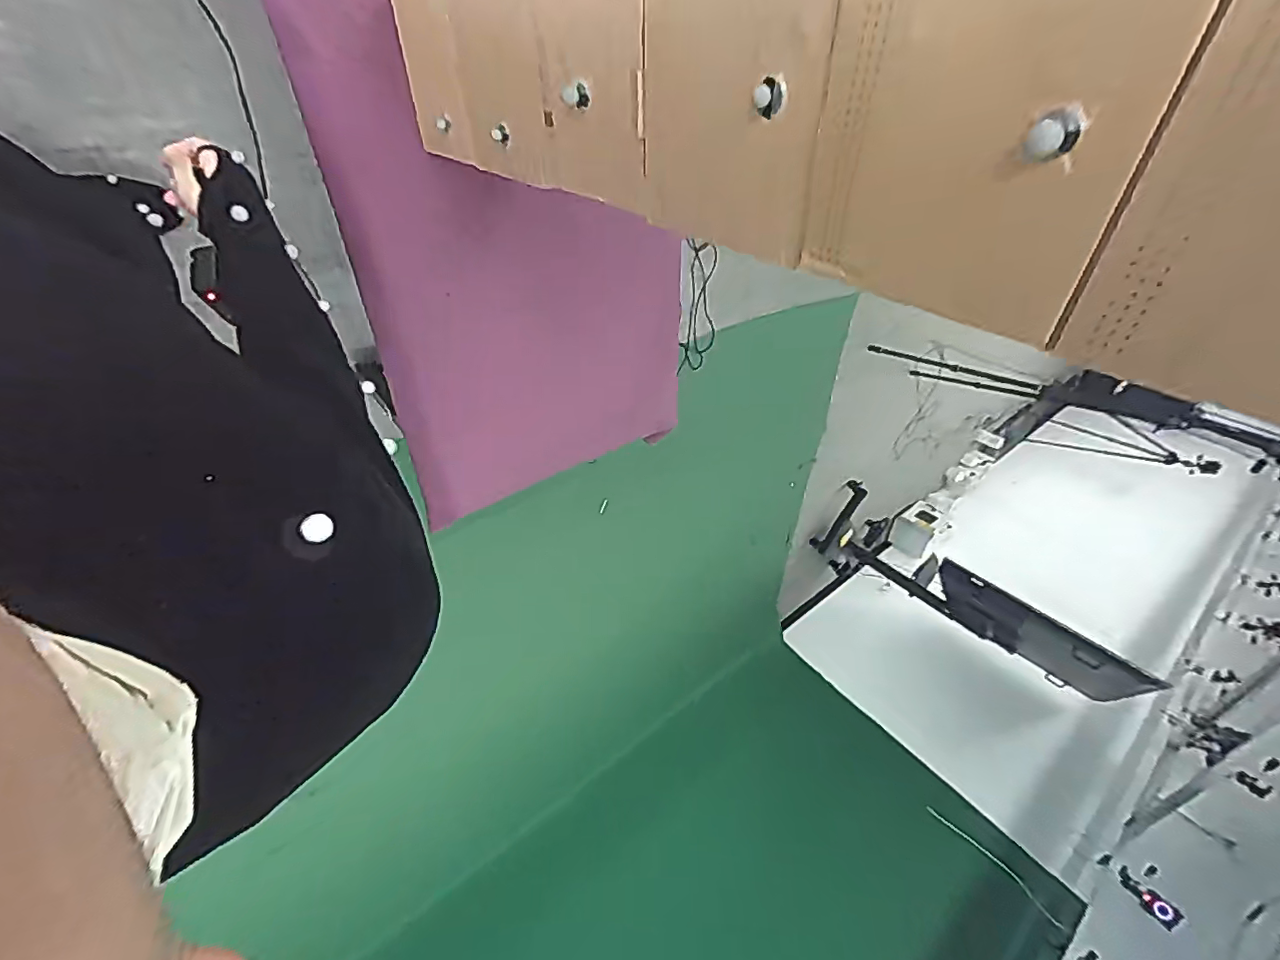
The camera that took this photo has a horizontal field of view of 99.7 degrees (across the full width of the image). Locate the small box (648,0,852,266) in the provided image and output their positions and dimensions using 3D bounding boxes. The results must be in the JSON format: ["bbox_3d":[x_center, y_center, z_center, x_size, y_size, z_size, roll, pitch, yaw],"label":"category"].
[{"bbox_3d":[0.119,-0.287,0.410,0.168,0.176,0.179,-28,138,-28],"label":"small box"}]

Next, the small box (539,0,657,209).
[{"bbox_3d":[0.019,-0.370,0.510,0.179,0.176,0.168,-27,137,-28],"label":"small box"}]

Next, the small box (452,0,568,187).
[{"bbox_3d":[-0.088,-0.448,0.605,0.168,0.176,0.179,-27,136,-29],"label":"small box"}]

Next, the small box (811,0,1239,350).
[{"bbox_3d":[0.224,-0.205,0.317,0.168,0.176,0.179,-28,136,-28],"label":"small box"}]

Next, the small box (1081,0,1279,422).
[{"bbox_3d":[0.327,-0.123,0.219,0.168,0.176,0.179,-27,136,-29],"label":"small box"}]
